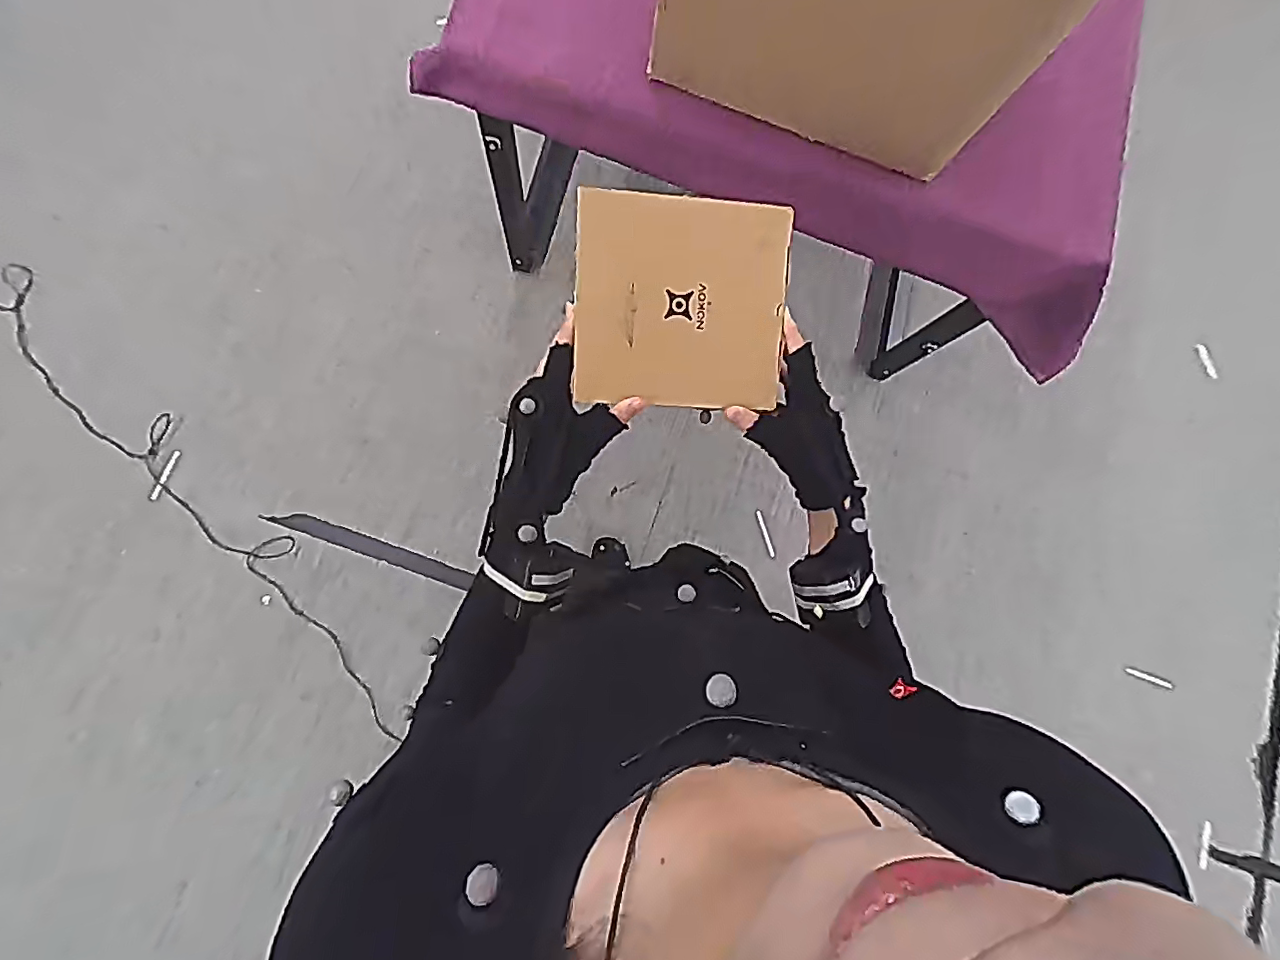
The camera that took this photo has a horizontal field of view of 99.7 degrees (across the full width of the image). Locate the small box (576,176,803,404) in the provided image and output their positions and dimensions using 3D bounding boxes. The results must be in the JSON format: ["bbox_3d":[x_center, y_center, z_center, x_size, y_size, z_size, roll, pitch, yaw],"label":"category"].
[{"bbox_3d":[0.031,-0.158,0.508,0.179,0.176,0.168,1,97,-7],"label":"small box"}]
